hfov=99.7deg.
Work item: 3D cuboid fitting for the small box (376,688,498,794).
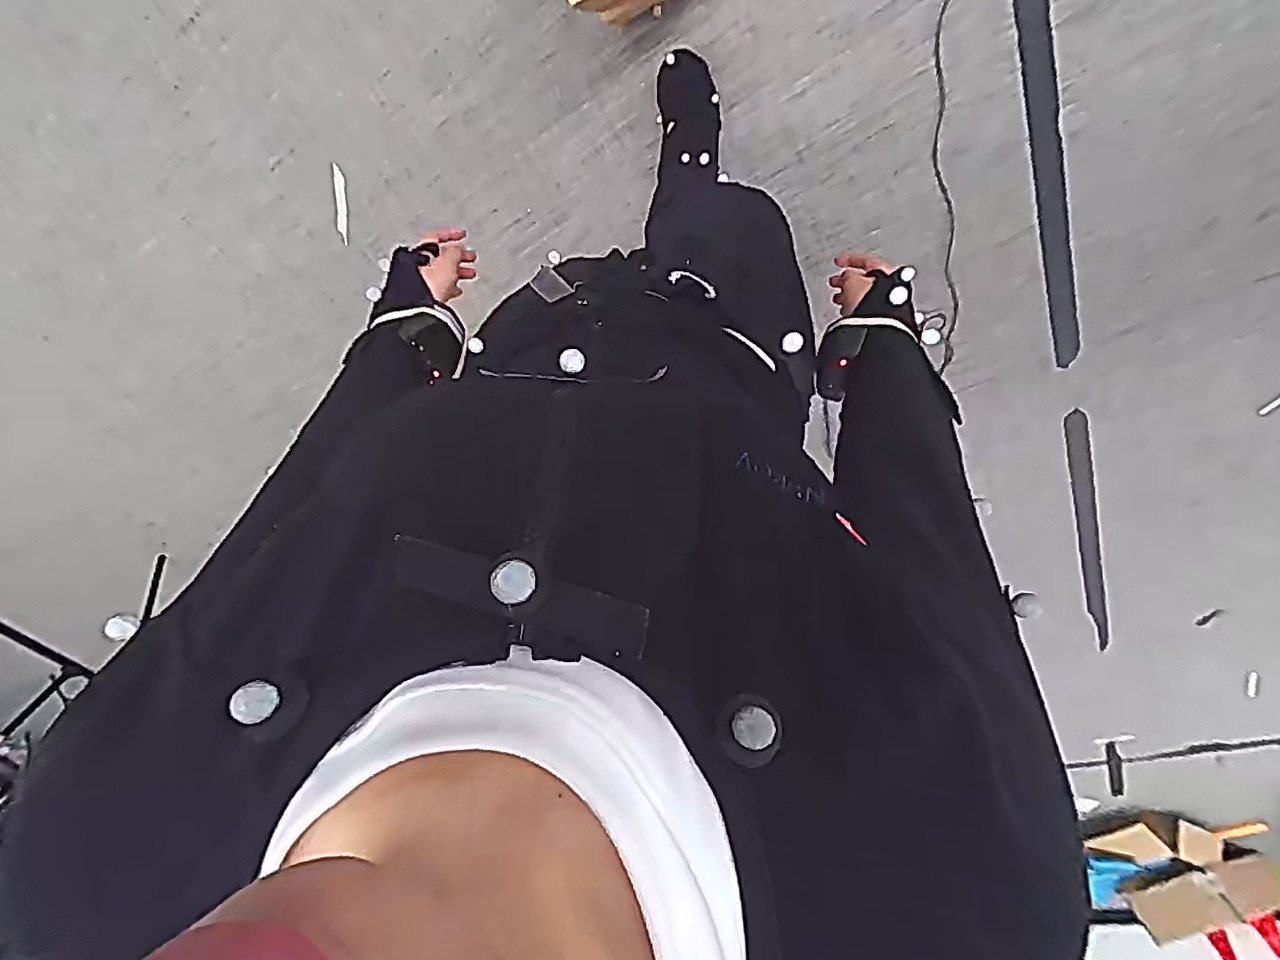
[{"bbox_3d":[-0.439,0.589,1.210,0.179,0.176,0.168,-21,123,22],"label":"small box"}]

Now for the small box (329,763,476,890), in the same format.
[{"bbox_3d":[-0.464,0.692,1.083,0.179,0.176,0.168,-19,124,21],"label":"small box"}]

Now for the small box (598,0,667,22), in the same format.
[{"bbox_3d":[-0.003,-0.840,0.825,0.168,0.176,0.179,-14,126,19],"label":"small box"}]
